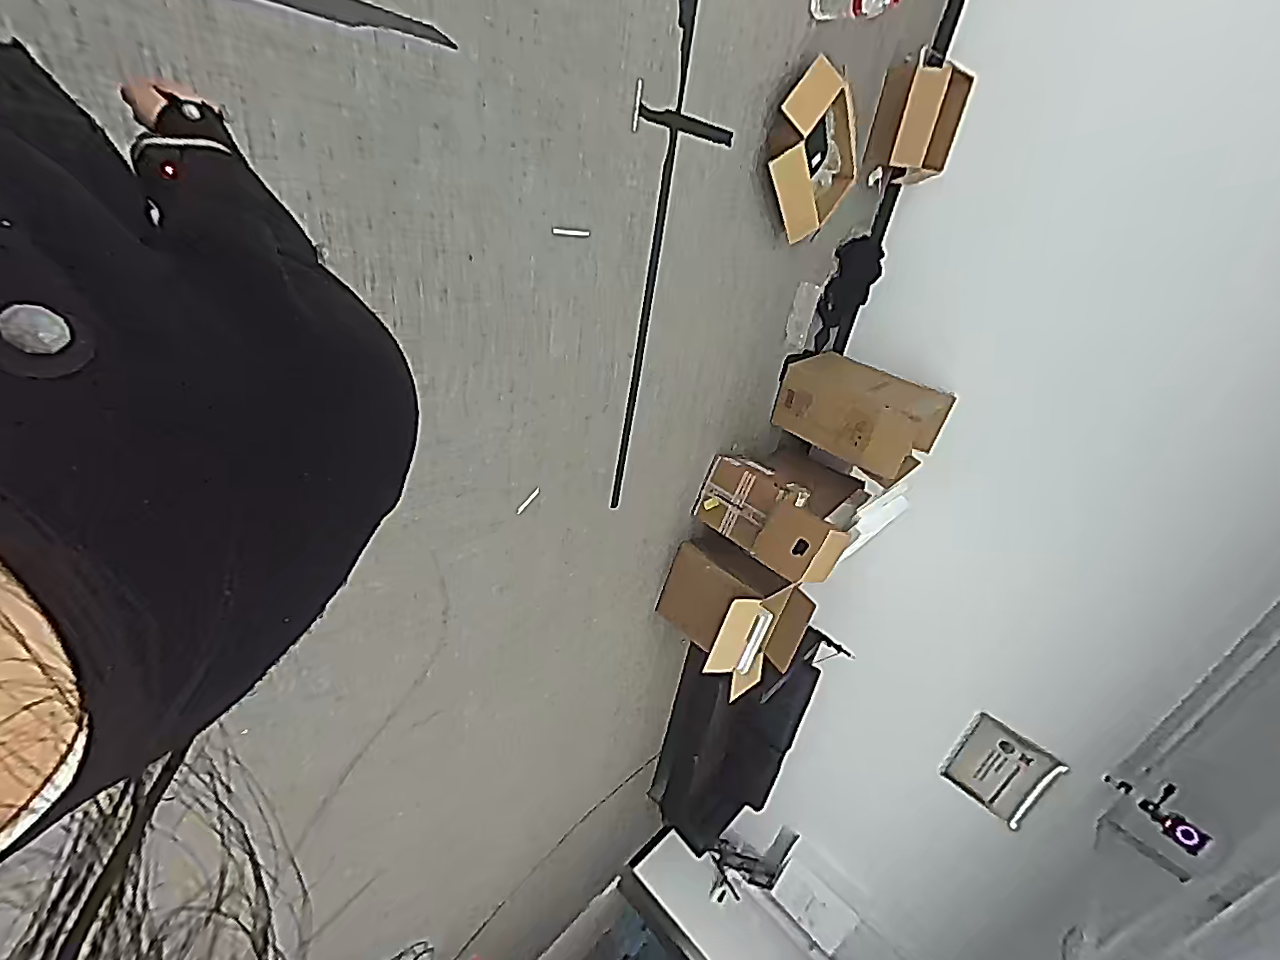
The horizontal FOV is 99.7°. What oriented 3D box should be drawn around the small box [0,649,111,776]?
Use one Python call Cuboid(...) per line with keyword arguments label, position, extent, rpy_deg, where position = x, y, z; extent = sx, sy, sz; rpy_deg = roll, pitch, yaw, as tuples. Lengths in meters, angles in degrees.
Cuboid(label="small box", position=(-1.338, 0.509, 1.221), extent=(0.168, 0.176, 0.179), rpy_deg=(-17, 129, -43))
